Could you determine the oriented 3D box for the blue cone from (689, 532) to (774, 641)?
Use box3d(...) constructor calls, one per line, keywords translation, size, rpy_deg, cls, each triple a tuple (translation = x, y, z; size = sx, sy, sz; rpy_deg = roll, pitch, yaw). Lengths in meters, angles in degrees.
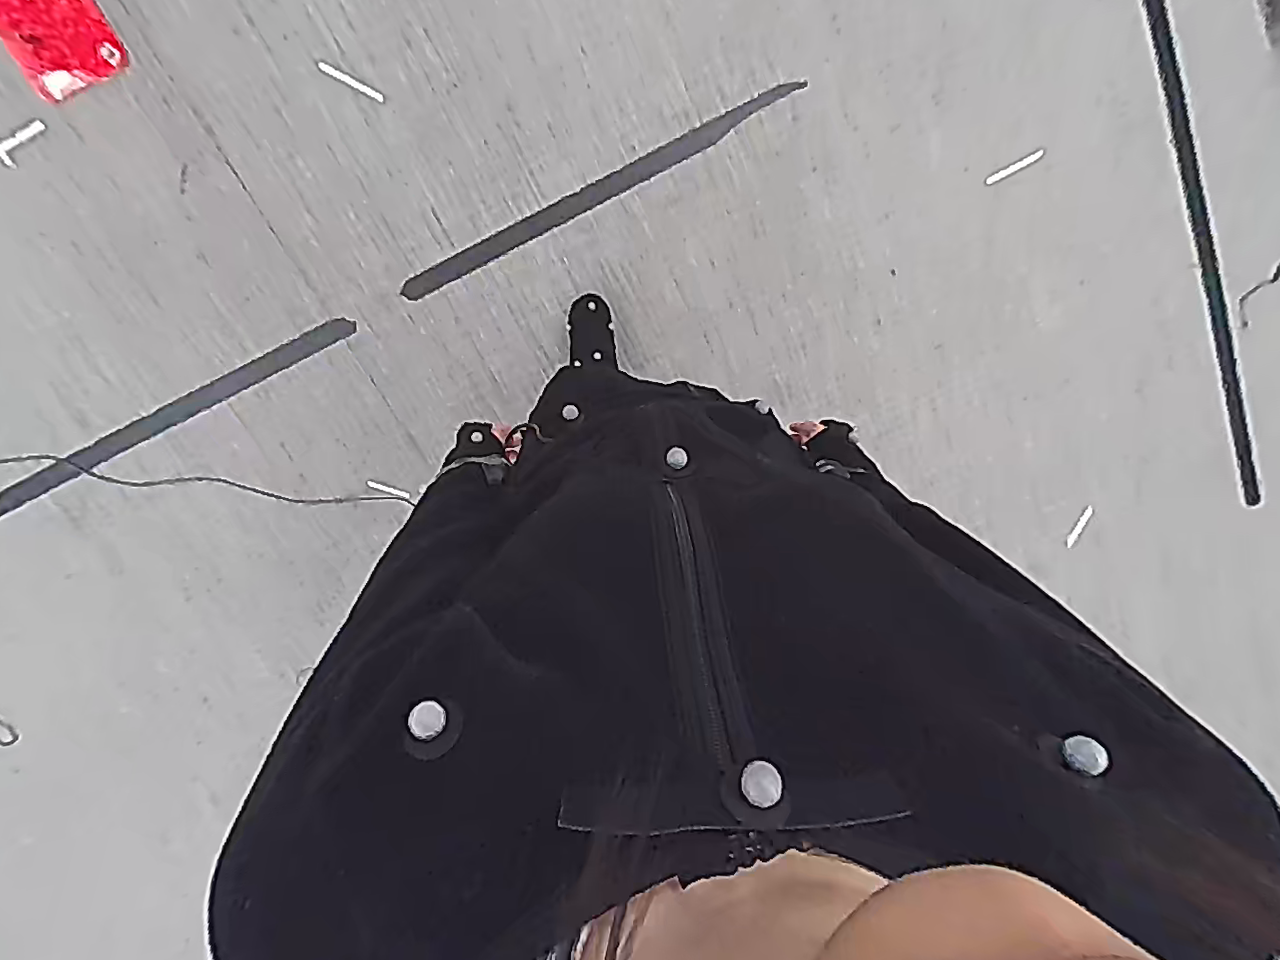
box3d(translation=(0.266, 0.288, 1.352), size=(0.192, 0.380, 0.193), rpy_deg=(-24, 105, 1), cls="blue cone")
